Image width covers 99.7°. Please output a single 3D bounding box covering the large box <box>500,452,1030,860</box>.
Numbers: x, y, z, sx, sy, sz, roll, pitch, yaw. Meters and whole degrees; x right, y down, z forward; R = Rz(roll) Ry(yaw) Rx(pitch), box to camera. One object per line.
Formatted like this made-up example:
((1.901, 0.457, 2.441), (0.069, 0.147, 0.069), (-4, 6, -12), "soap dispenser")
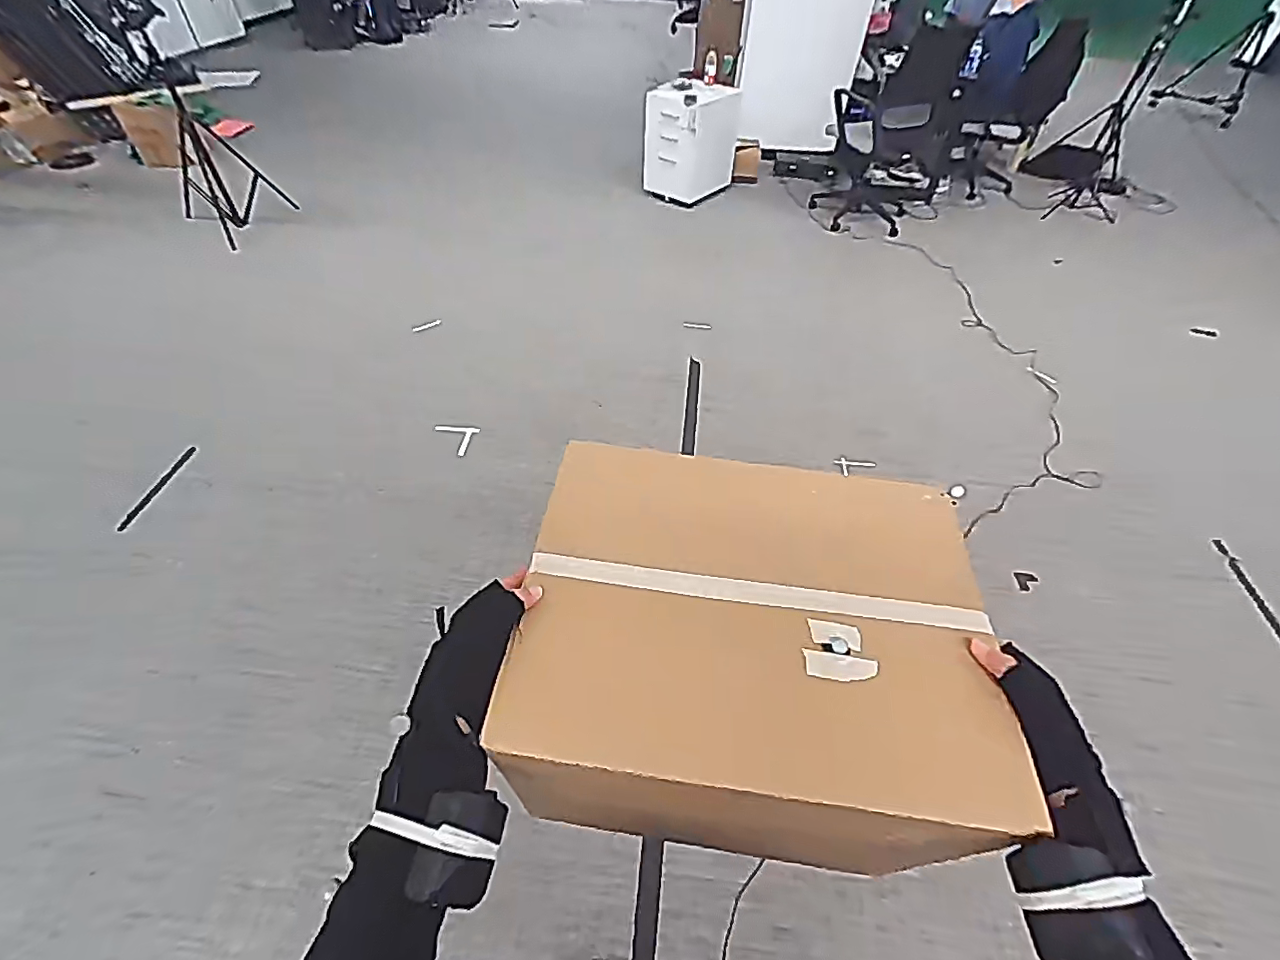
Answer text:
((0.098, 0.201, 0.607), (0.408, 0.320, 0.320), (7, 51, 3), "large box")
